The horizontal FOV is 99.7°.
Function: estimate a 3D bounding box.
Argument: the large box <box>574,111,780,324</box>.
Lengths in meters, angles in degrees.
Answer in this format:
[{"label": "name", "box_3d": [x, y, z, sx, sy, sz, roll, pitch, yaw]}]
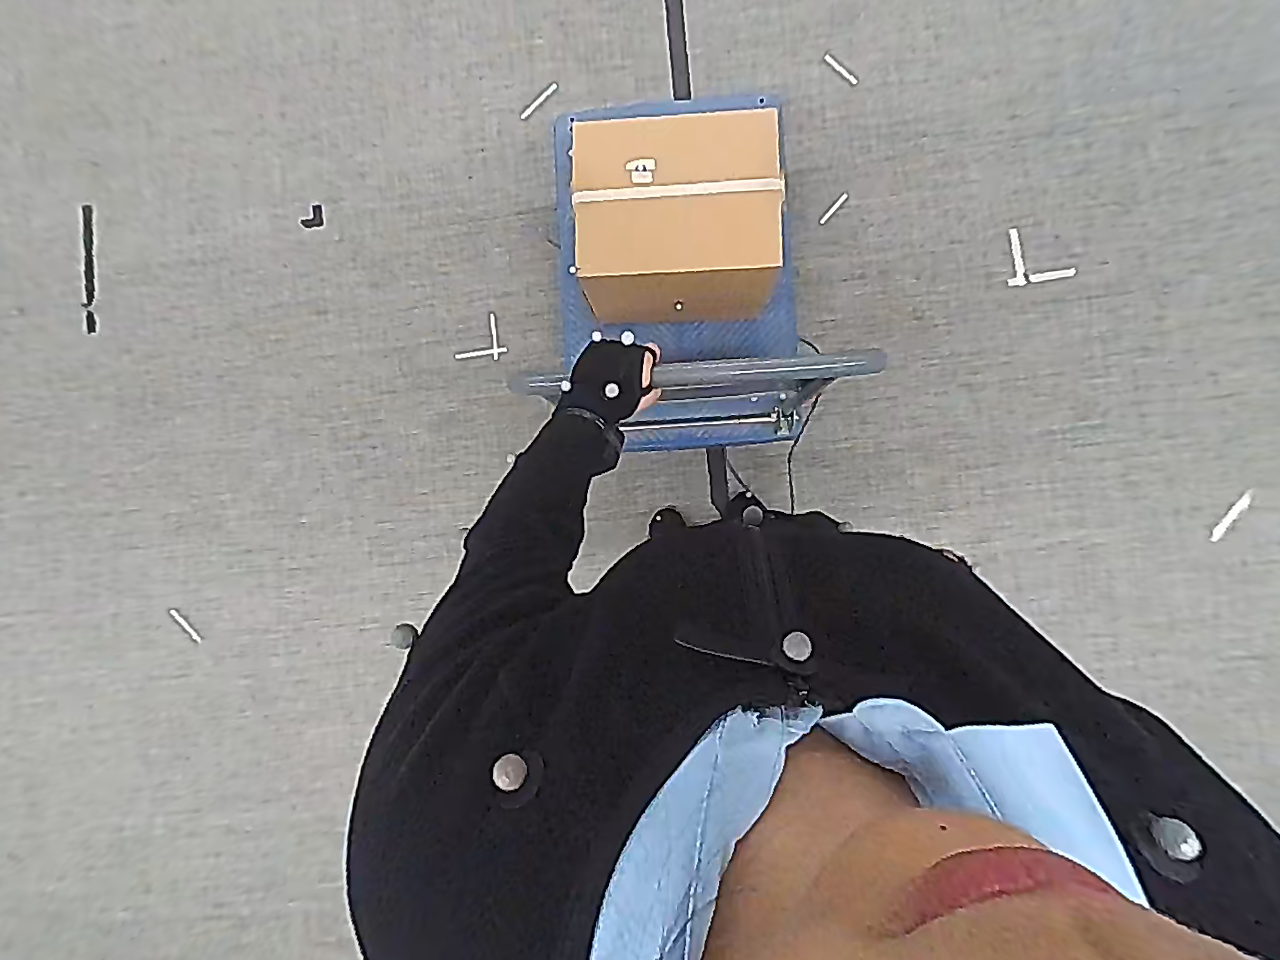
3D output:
[{"label": "large box", "box_3d": [0.085, -0.556, 1.216, 0.408, 0.320, 0.320, -2, 87, 5]}]
